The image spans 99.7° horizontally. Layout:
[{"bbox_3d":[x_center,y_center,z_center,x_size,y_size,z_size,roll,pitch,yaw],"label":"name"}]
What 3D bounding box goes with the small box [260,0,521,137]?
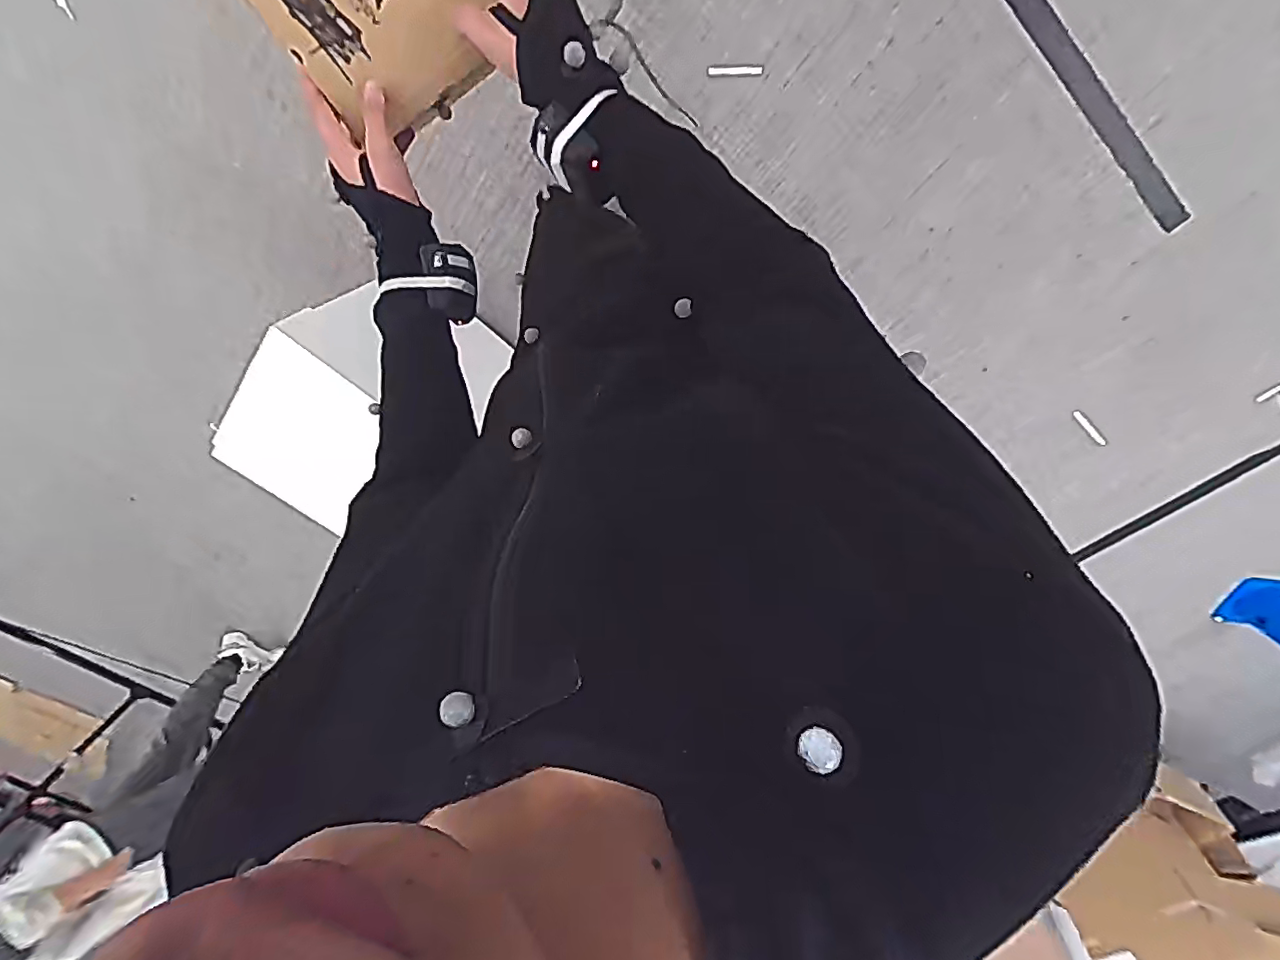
[{"bbox_3d":[-0.224,-0.449,0.494,0.179,0.176,0.168,-30,126,11],"label":"small box"}]
